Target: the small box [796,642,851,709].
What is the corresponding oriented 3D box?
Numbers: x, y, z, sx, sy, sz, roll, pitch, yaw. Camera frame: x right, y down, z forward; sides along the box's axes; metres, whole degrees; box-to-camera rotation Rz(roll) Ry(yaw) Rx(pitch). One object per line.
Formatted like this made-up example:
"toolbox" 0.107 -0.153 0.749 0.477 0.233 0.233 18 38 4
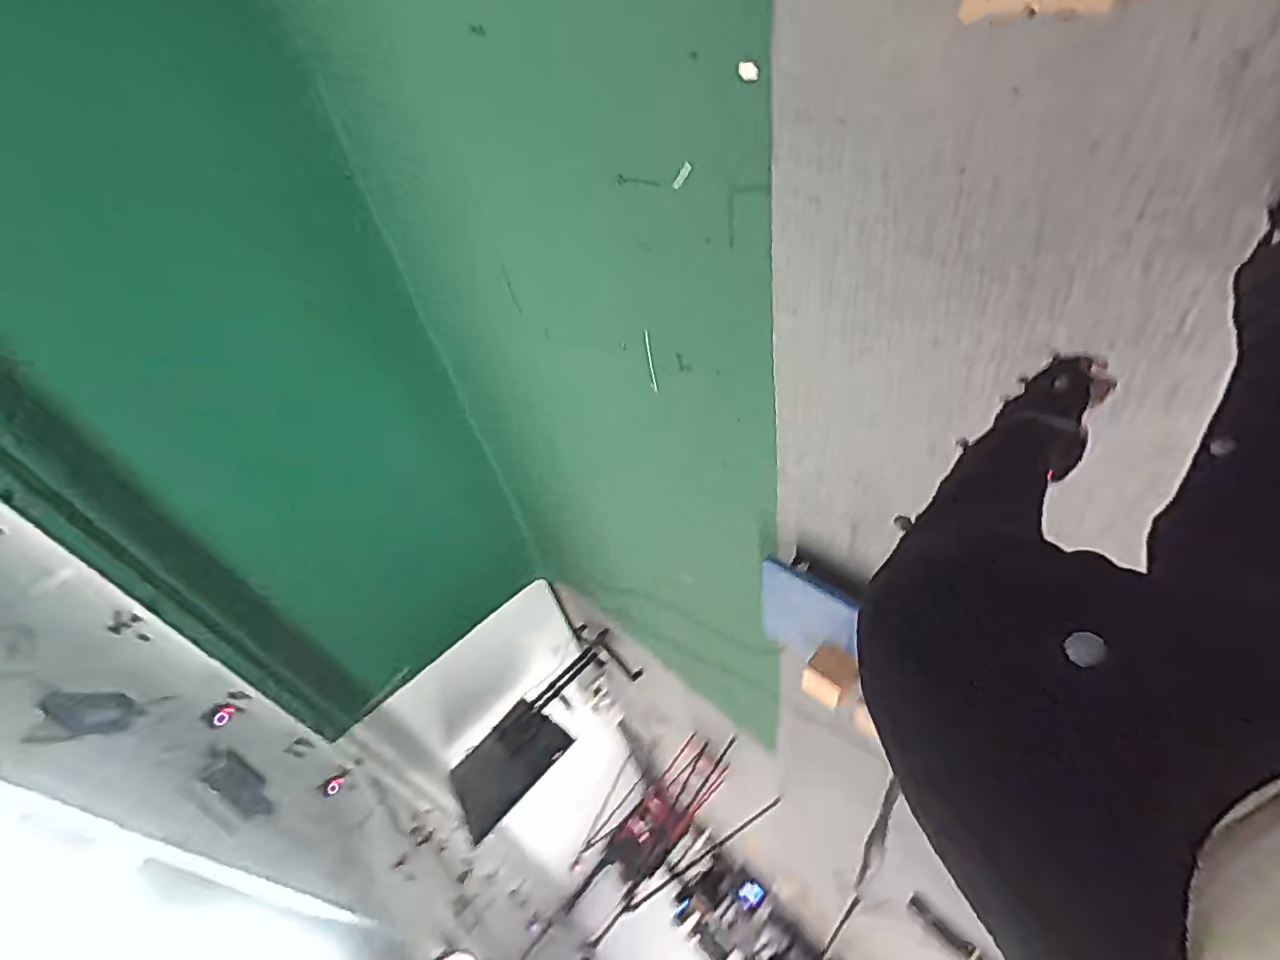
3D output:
"small box" 0.795 0.843 2.341 0.168 0.176 0.179 30 145 36
